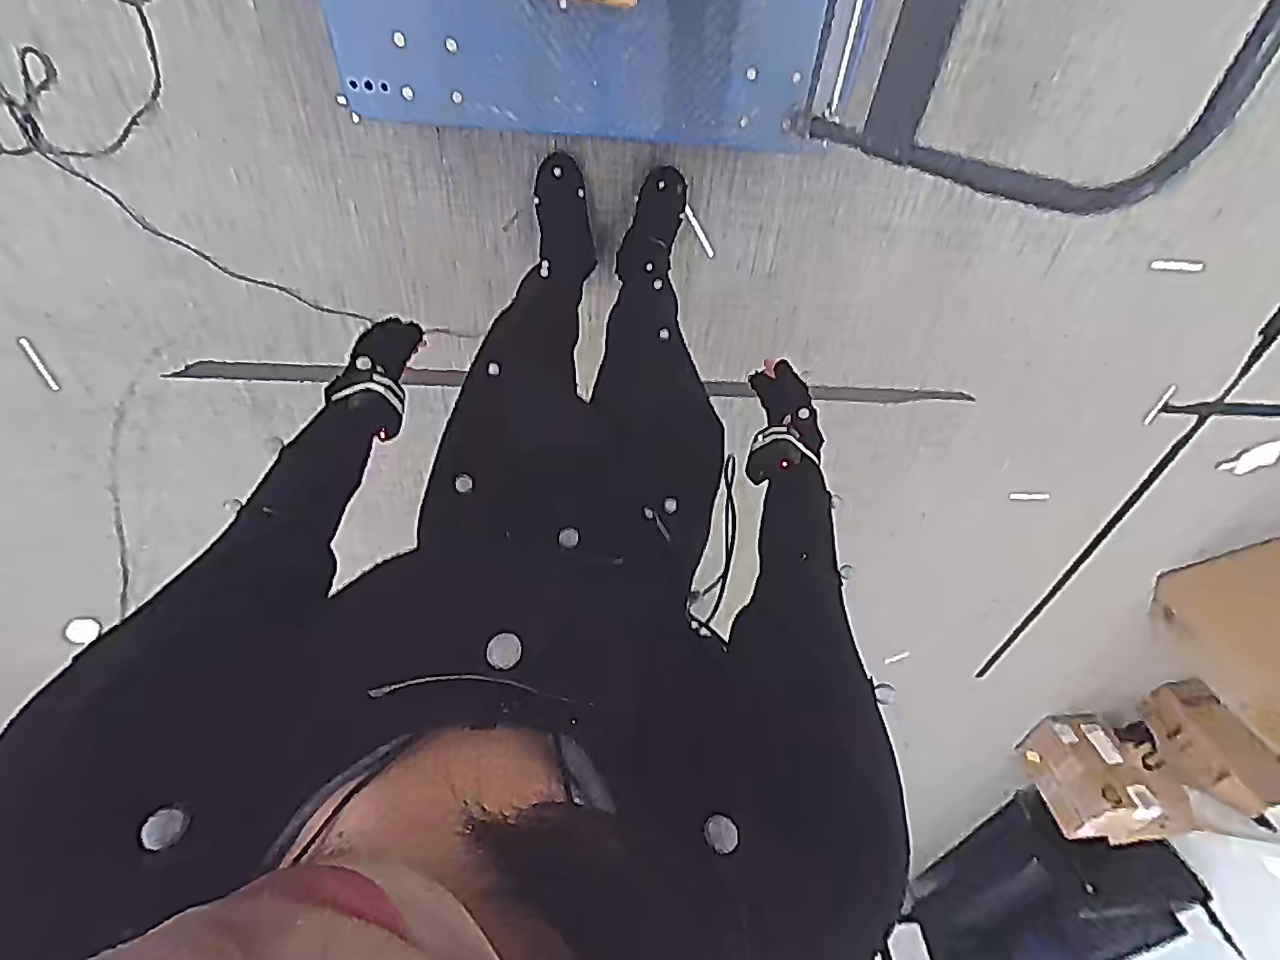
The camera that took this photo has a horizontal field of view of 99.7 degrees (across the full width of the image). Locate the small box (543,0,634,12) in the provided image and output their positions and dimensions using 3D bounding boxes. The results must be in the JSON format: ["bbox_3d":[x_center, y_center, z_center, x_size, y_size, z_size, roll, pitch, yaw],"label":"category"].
[{"bbox_3d":[-0.086,-0.767,0.735,0.168,0.176,0.179,2,128,-8],"label":"small box"}]
